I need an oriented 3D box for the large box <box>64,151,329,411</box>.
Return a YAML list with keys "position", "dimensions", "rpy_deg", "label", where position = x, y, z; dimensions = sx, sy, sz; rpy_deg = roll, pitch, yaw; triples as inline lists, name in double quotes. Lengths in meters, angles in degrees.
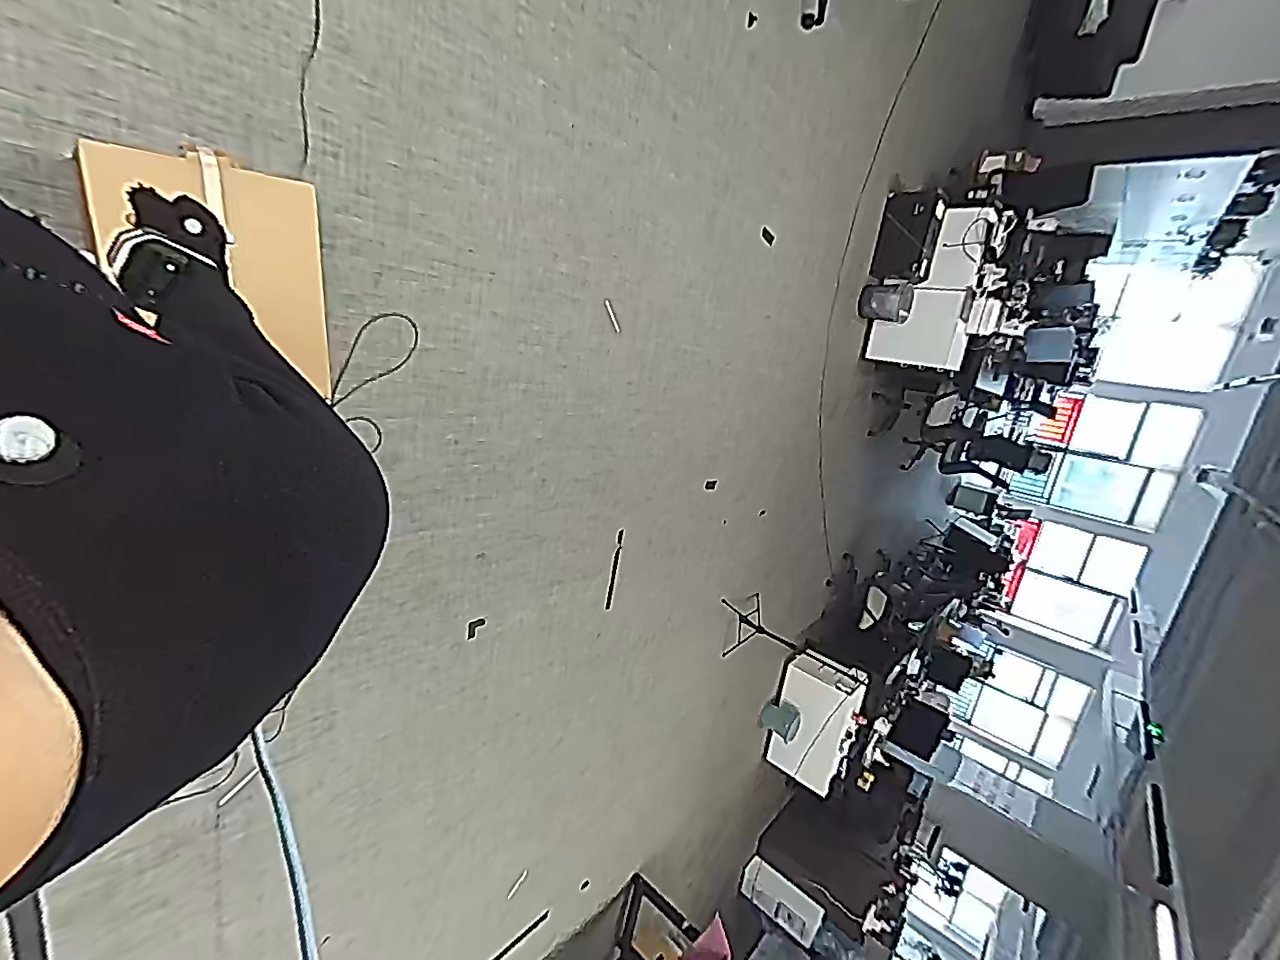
- position: [-0.850, -0.375, 1.057]
  dimensions: [0.320, 0.320, 0.408]
  rpy_deg: [-14, 118, -45]
  label: "large box"
